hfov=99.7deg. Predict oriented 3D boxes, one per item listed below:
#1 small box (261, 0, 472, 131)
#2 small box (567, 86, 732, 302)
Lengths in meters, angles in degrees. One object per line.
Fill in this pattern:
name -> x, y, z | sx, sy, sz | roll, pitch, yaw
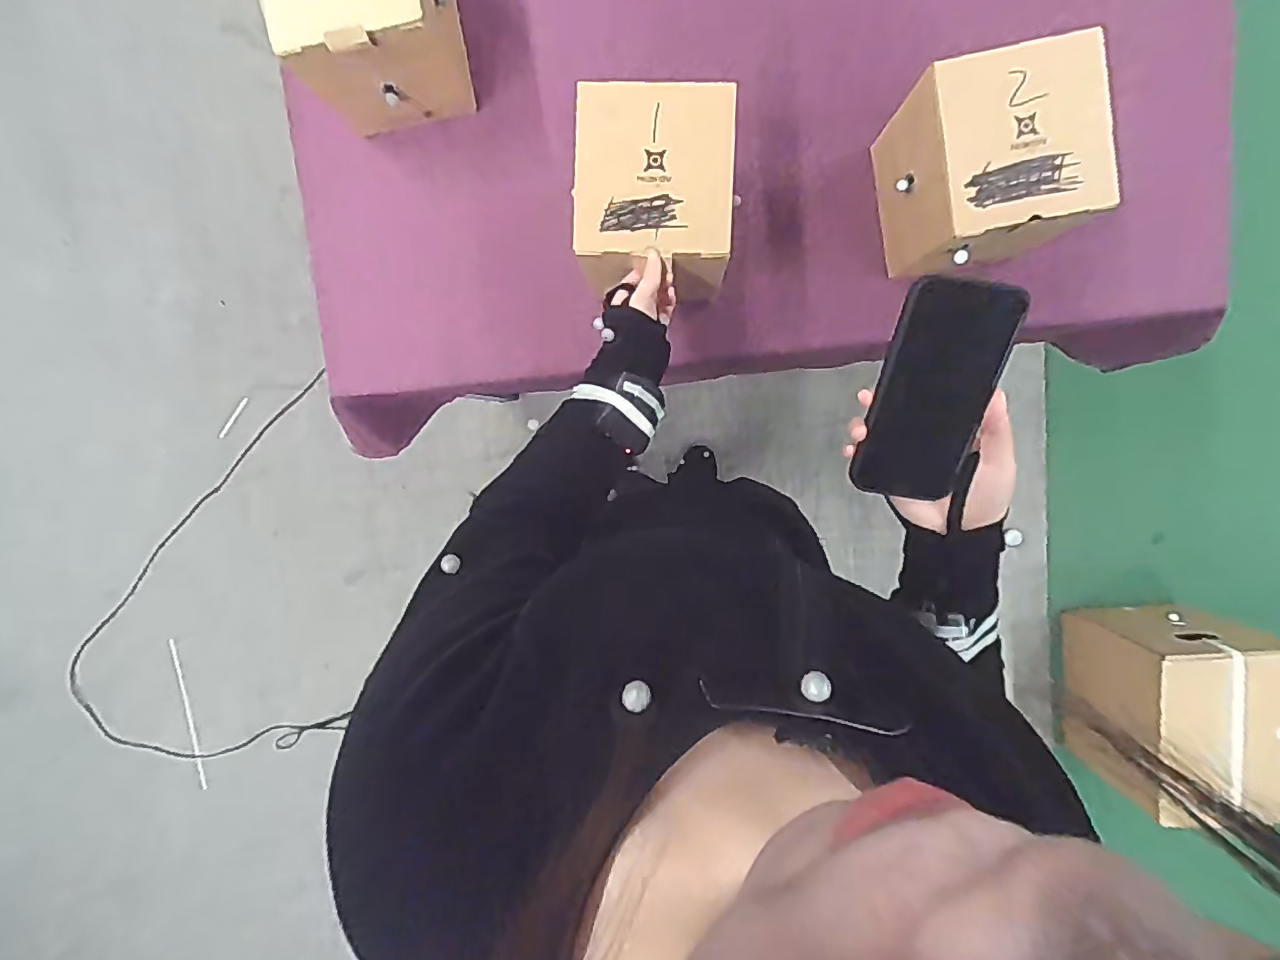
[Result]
small box -> -0.314, -0.542, 0.633 | 0.168, 0.176, 0.179 | -10, 96, 3
small box -> 0.013, -0.319, 0.638 | 0.168, 0.176, 0.179 | 3, 92, 2
